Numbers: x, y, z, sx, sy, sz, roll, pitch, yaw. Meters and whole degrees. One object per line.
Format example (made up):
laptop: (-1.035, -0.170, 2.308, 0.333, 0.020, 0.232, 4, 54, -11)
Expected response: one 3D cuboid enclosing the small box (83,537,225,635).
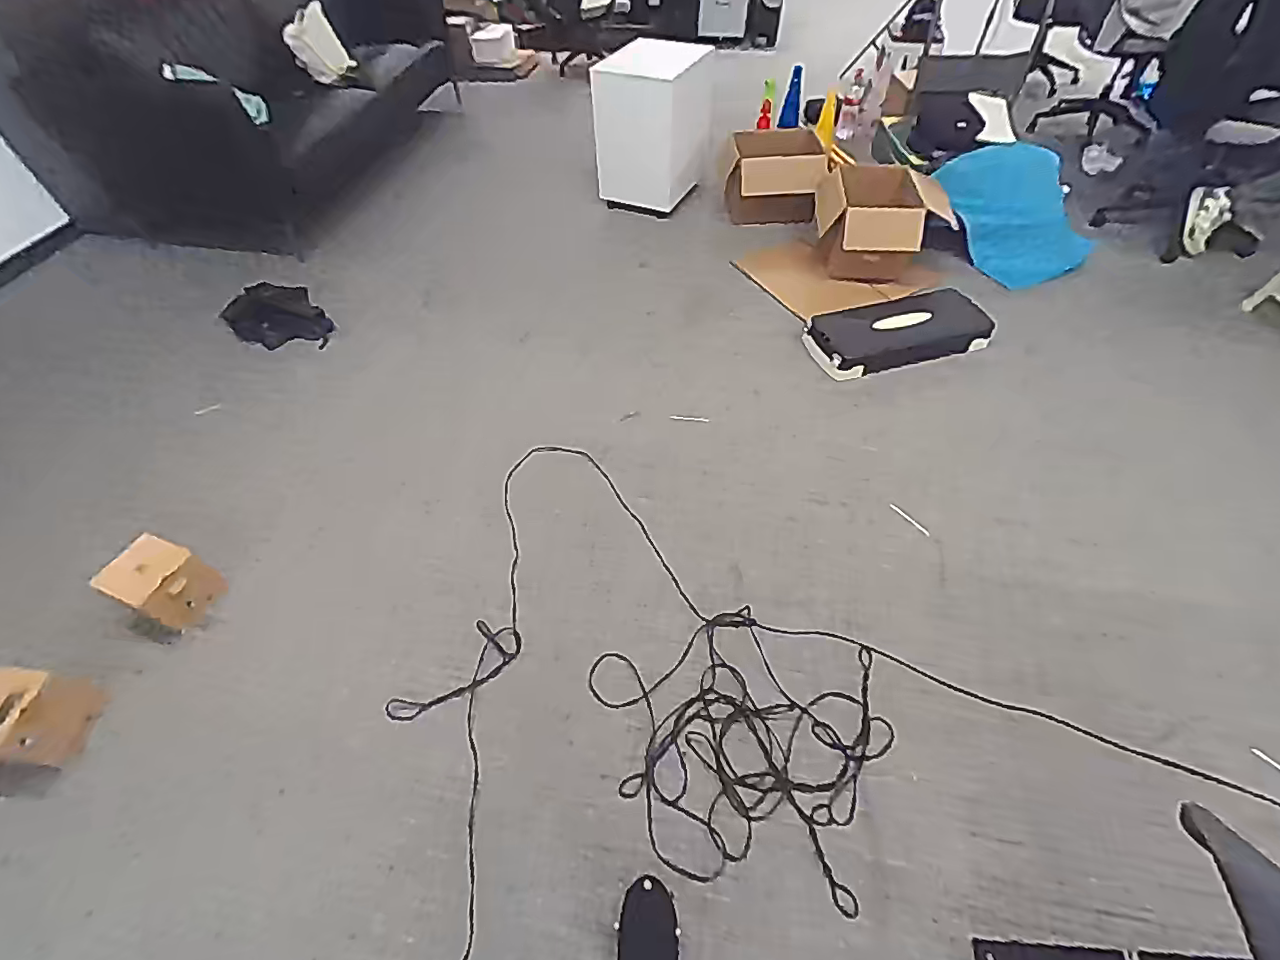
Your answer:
small box: (-1.249, 0.280, 1.404, 0.179, 0.176, 0.168, 16, 53, 13)
